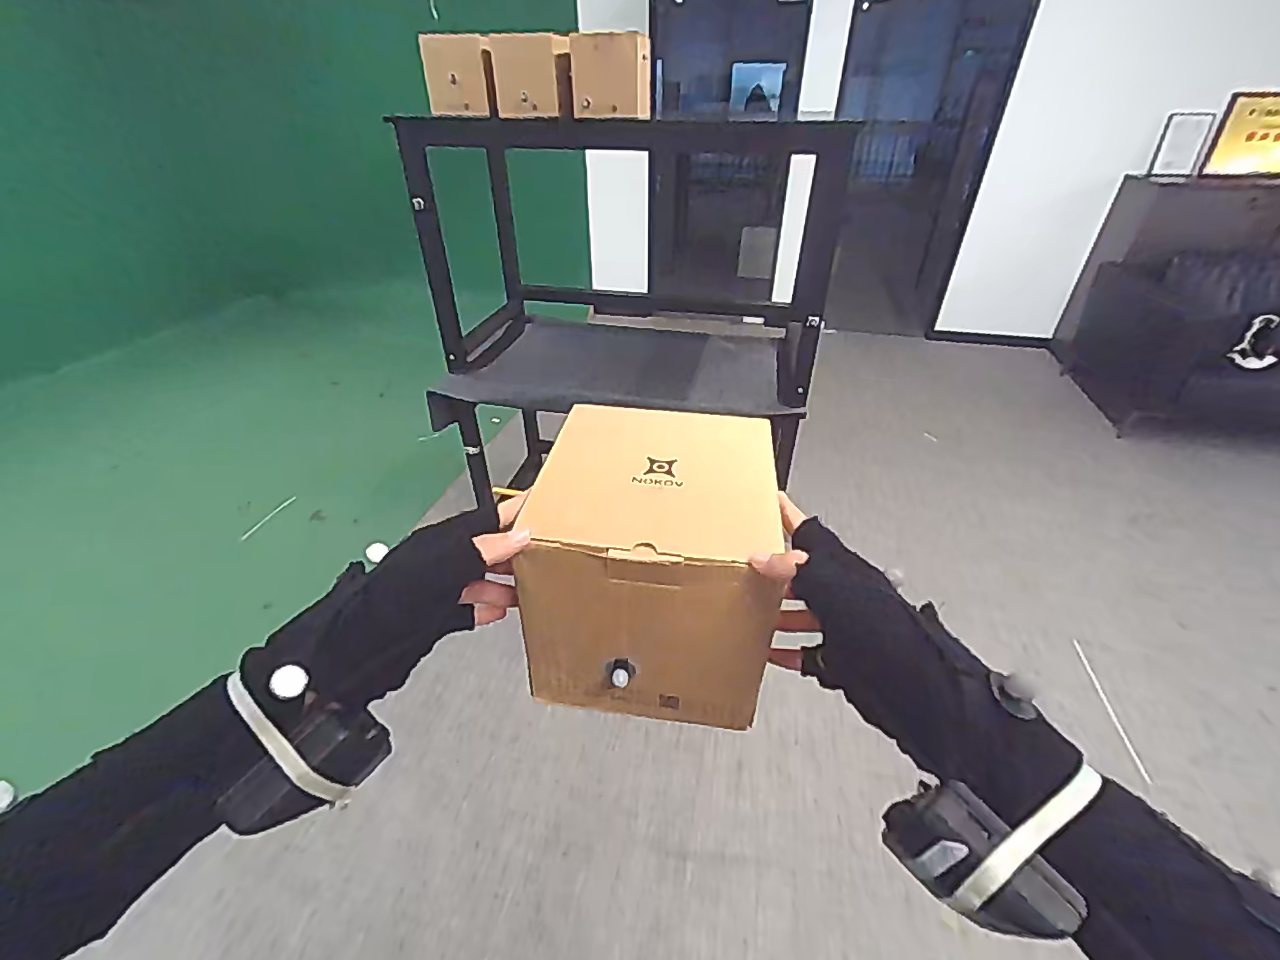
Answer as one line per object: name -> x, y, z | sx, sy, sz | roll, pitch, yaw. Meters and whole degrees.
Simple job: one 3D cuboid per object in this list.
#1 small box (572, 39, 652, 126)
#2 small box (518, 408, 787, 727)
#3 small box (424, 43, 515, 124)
small box -> -0.063, -1.000, 1.369 | 0.168, 0.176, 0.179 | 6, 35, 9
small box -> 0.014, 0.062, 0.431 | 0.168, 0.176, 0.179 | 5, 35, 6
small box -> -0.447, -1.063, 1.455 | 0.168, 0.176, 0.179 | 8, 36, 10
